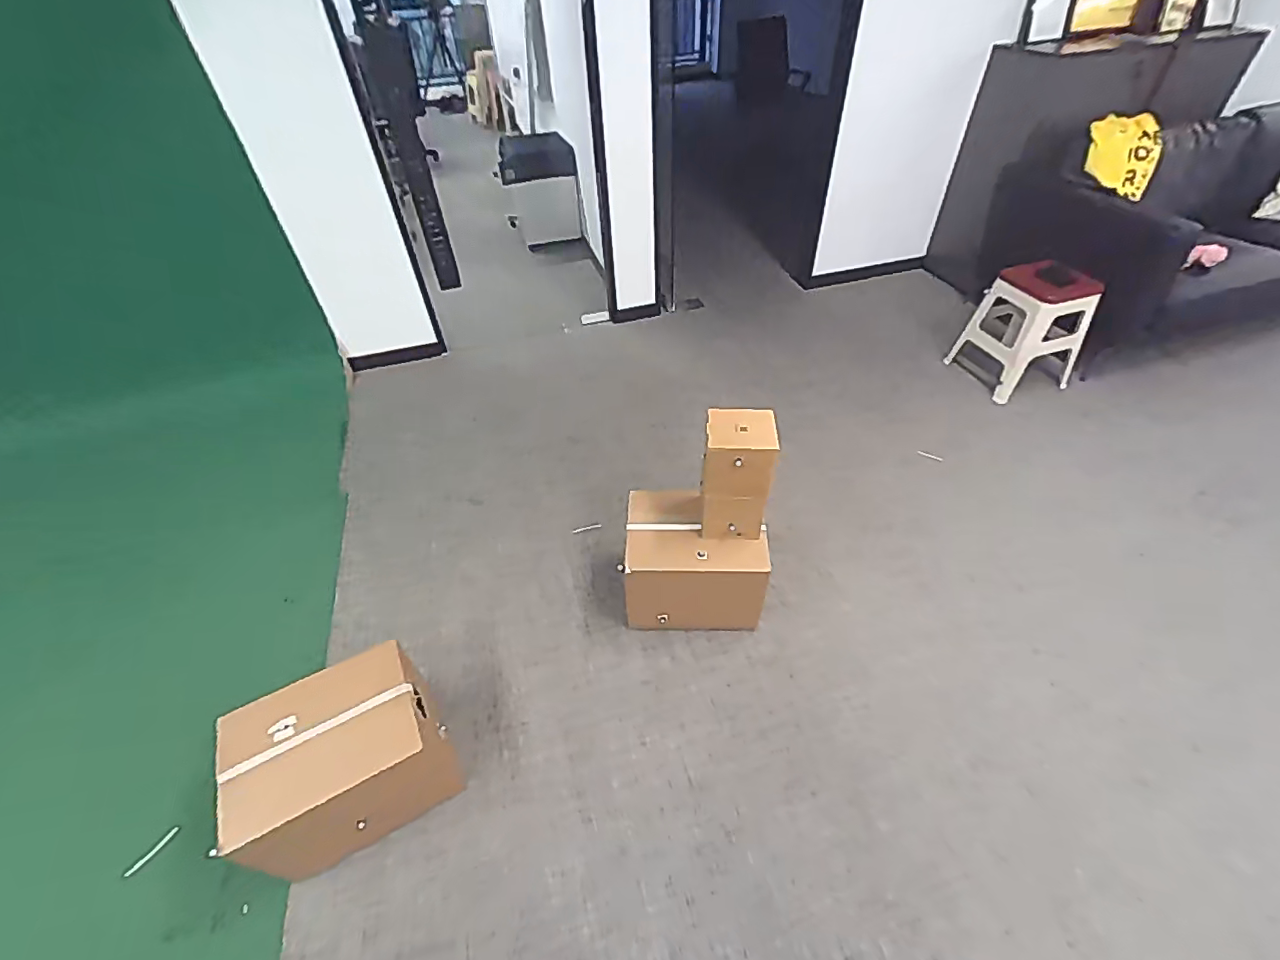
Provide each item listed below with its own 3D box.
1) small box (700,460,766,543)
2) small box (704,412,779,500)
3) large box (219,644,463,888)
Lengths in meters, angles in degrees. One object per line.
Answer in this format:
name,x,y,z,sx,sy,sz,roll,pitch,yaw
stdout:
small box,0.258,0.057,1.538,0.168,0.176,0.179,0,43,4
small box,0.261,-0.061,1.427,0.179,0.176,0.168,1,43,5
large box,-0.701,0.679,1.302,0.408,0.320,0.320,-24,47,-18
